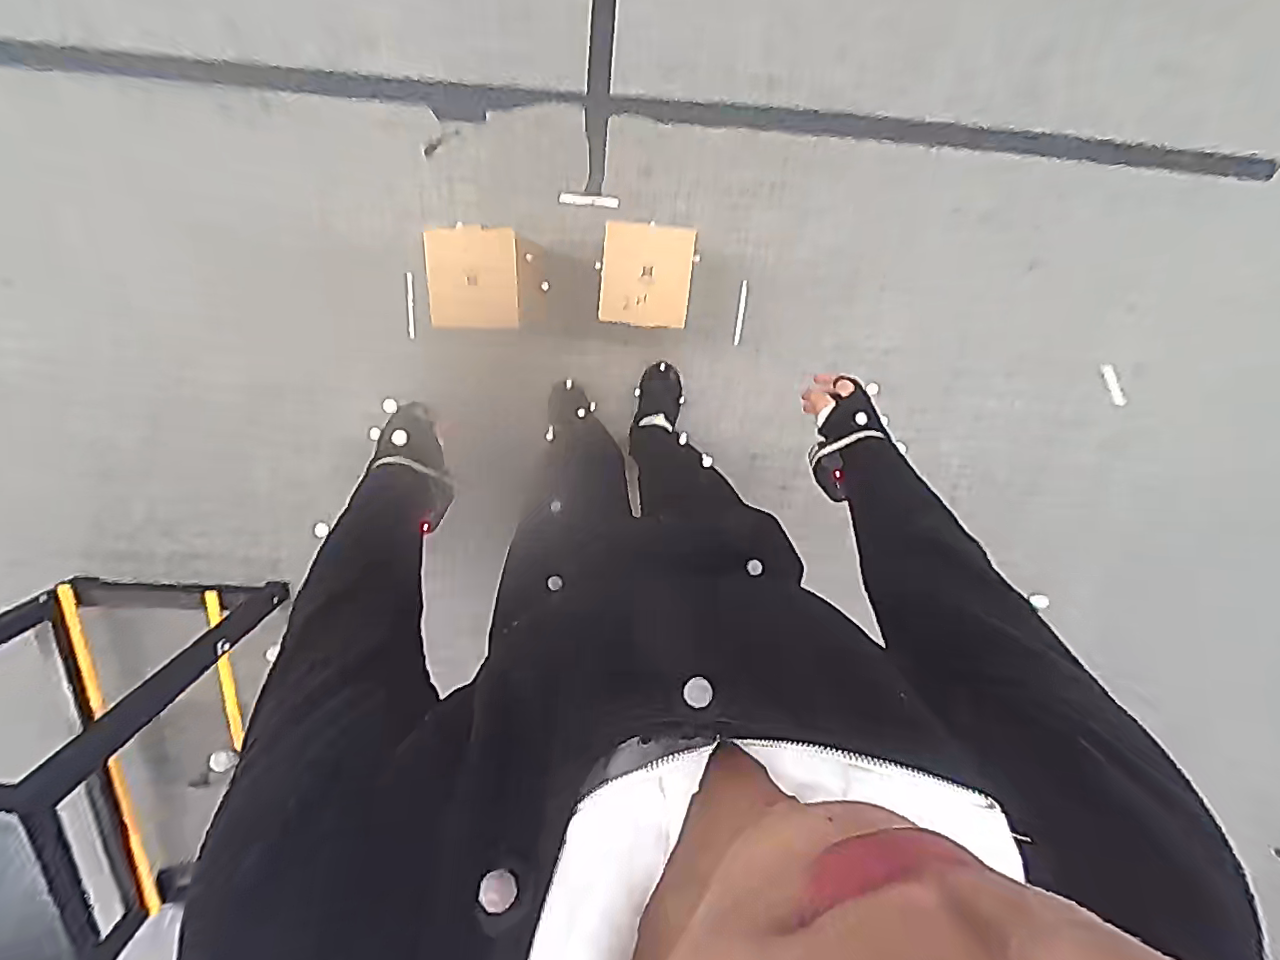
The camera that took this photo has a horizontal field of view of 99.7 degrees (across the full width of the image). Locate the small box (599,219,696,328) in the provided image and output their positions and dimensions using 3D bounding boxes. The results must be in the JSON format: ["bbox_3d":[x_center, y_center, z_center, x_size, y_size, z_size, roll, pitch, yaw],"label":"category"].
[{"bbox_3d":[0.008,-0.403,1.074,0.168,0.176,0.179,5,108,-3],"label":"small box"}]

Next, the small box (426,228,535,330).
[{"bbox_3d":[-0.305,-0.392,1.068,0.168,0.176,0.179,0,109,0],"label":"small box"}]

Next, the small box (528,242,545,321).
[{"bbox_3d":[-0.314,-0.446,1.221,0.179,0.176,0.168,2,108,-3],"label":"small box"}]
